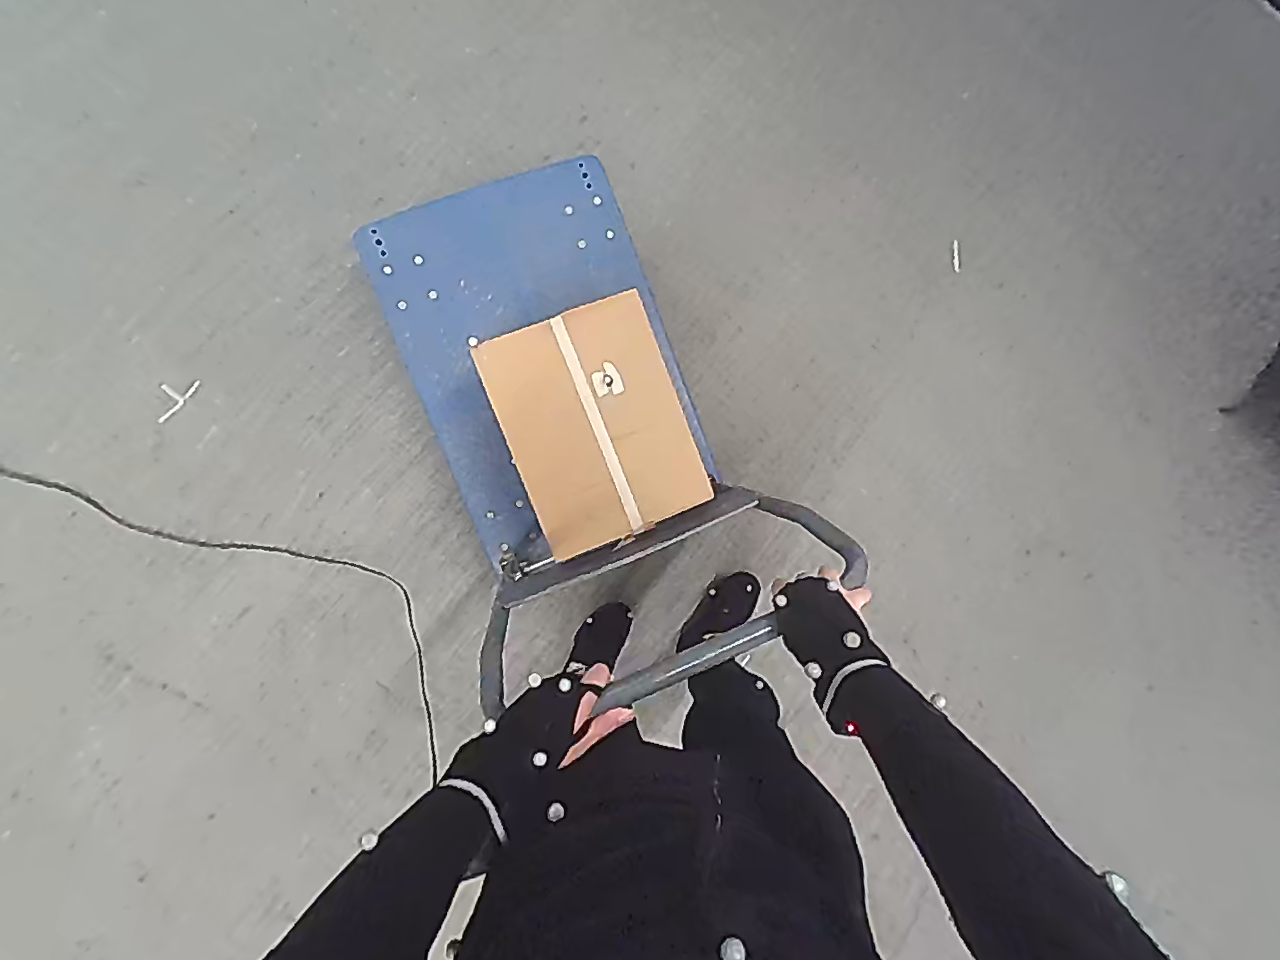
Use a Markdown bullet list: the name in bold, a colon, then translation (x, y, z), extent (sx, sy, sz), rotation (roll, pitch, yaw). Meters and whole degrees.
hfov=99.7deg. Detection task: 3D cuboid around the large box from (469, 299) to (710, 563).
- **large box**: translation (-0.103, -0.089, 1.114), extent (0.320, 0.320, 0.408), rotation (-23, 93, -8)
